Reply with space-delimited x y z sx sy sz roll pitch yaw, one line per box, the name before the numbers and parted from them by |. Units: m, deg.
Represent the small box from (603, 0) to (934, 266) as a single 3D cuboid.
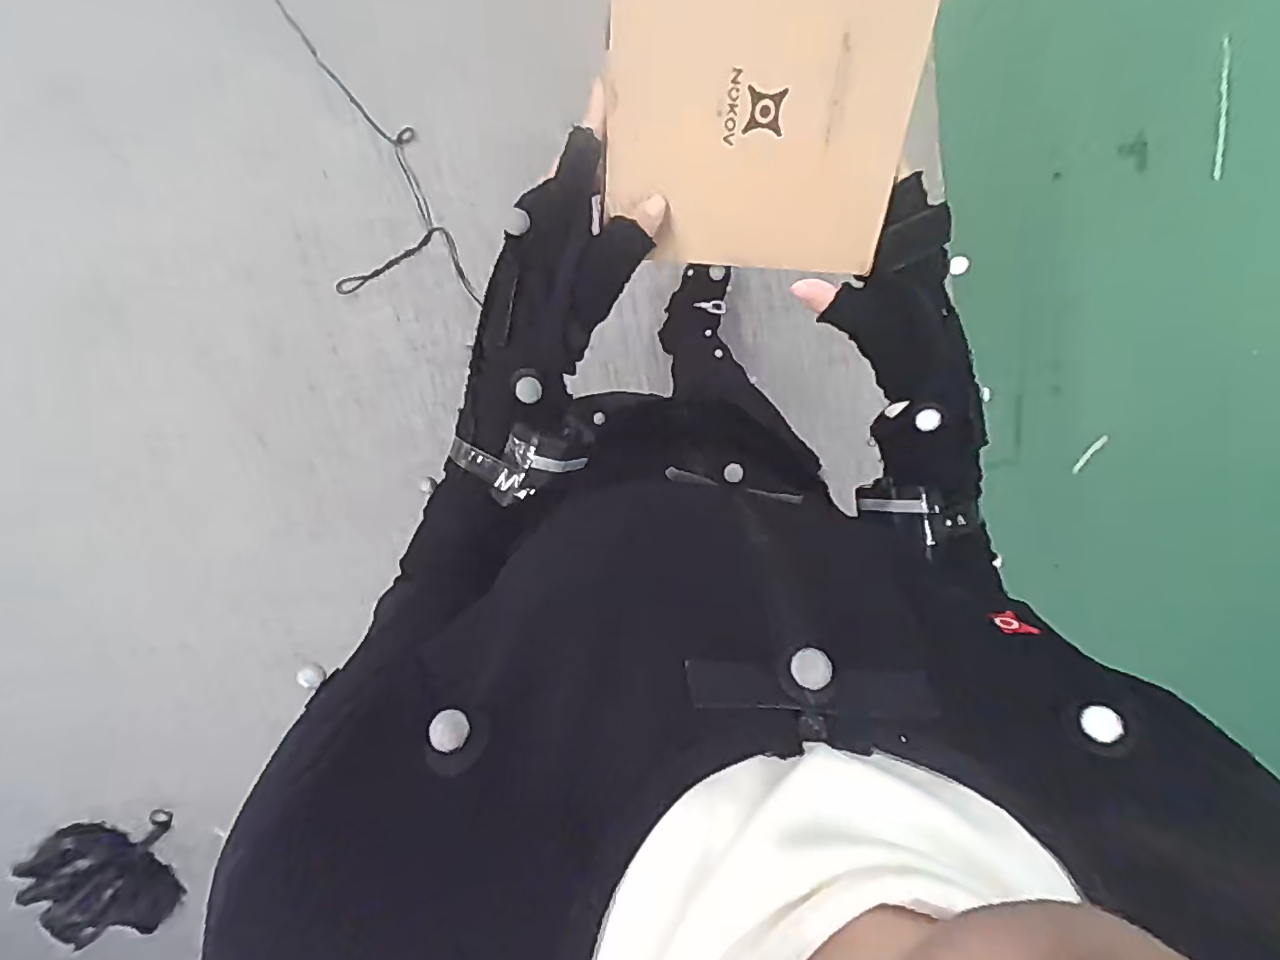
small box | 0.065 -0.253 0.378 0.179 0.176 0.168 1 121 -4
